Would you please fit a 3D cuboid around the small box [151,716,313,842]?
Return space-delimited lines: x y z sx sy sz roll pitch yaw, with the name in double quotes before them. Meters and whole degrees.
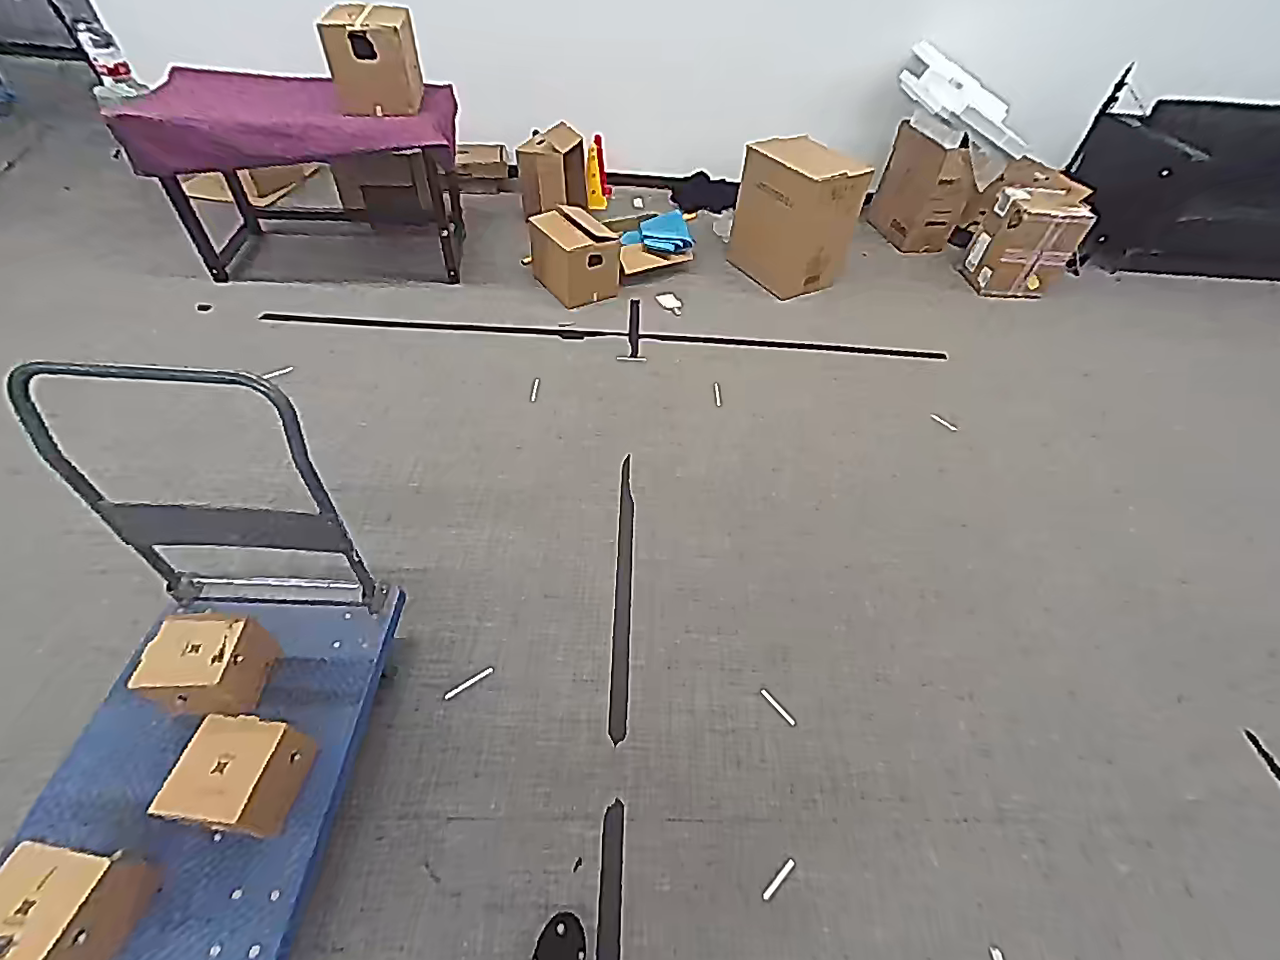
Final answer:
"small box" -0.791 0.597 1.078 0.168 0.176 0.179 6 49 2

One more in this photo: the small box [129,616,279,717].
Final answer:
"small box" -0.966 0.423 1.219 0.179 0.176 0.168 -1 48 -5

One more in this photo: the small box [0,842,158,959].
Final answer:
"small box" -0.990 0.748 0.915 0.168 0.176 0.179 10 46 3
